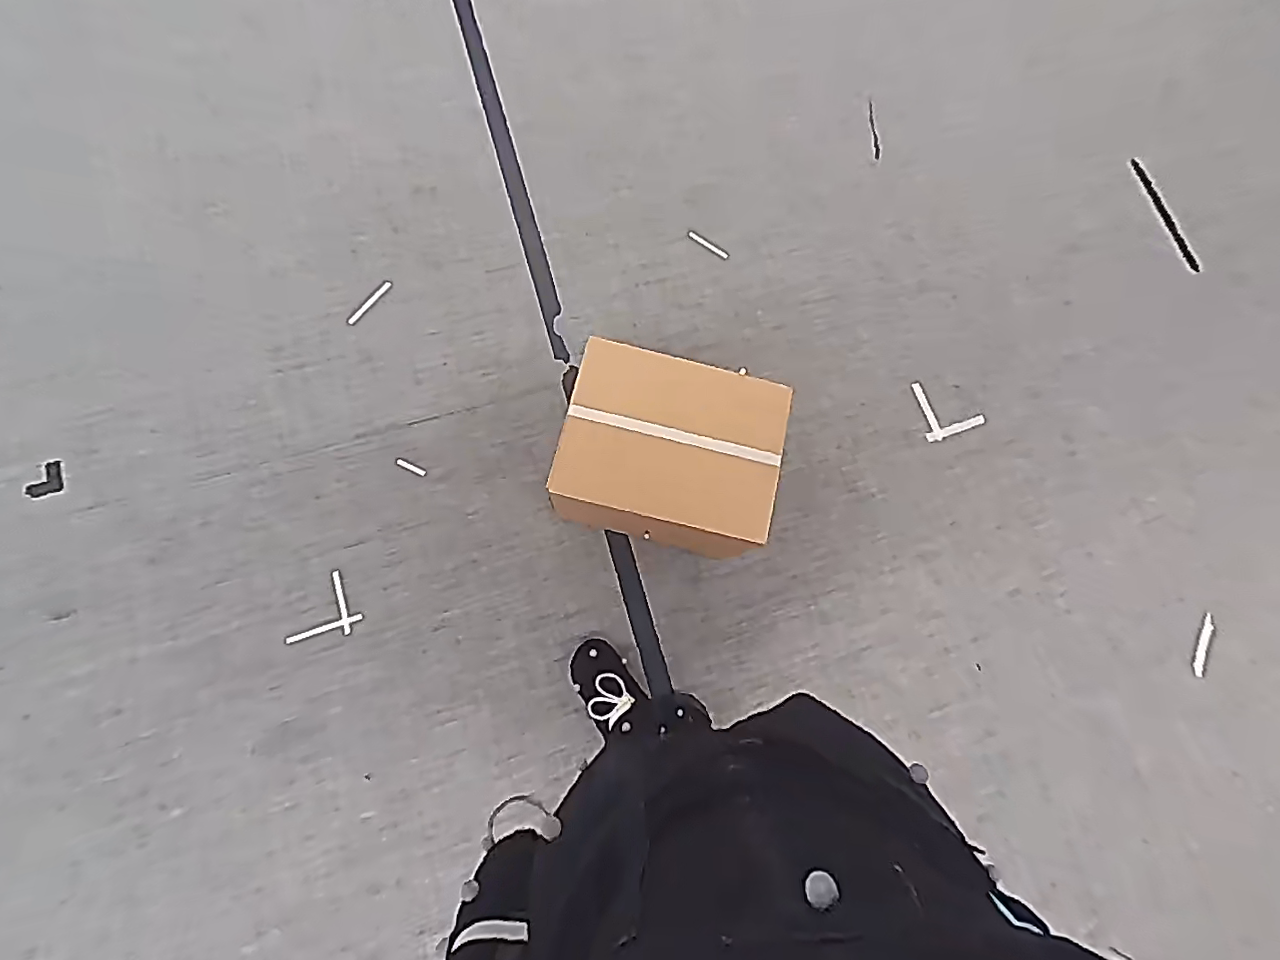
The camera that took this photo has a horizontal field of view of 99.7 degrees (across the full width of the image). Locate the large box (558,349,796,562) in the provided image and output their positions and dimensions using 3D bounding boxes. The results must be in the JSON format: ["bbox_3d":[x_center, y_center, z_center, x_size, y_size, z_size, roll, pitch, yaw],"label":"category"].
[{"bbox_3d":[0.063,-0.029,1.140,0.408,0.320,0.320,14,77,-2],"label":"large box"}]
